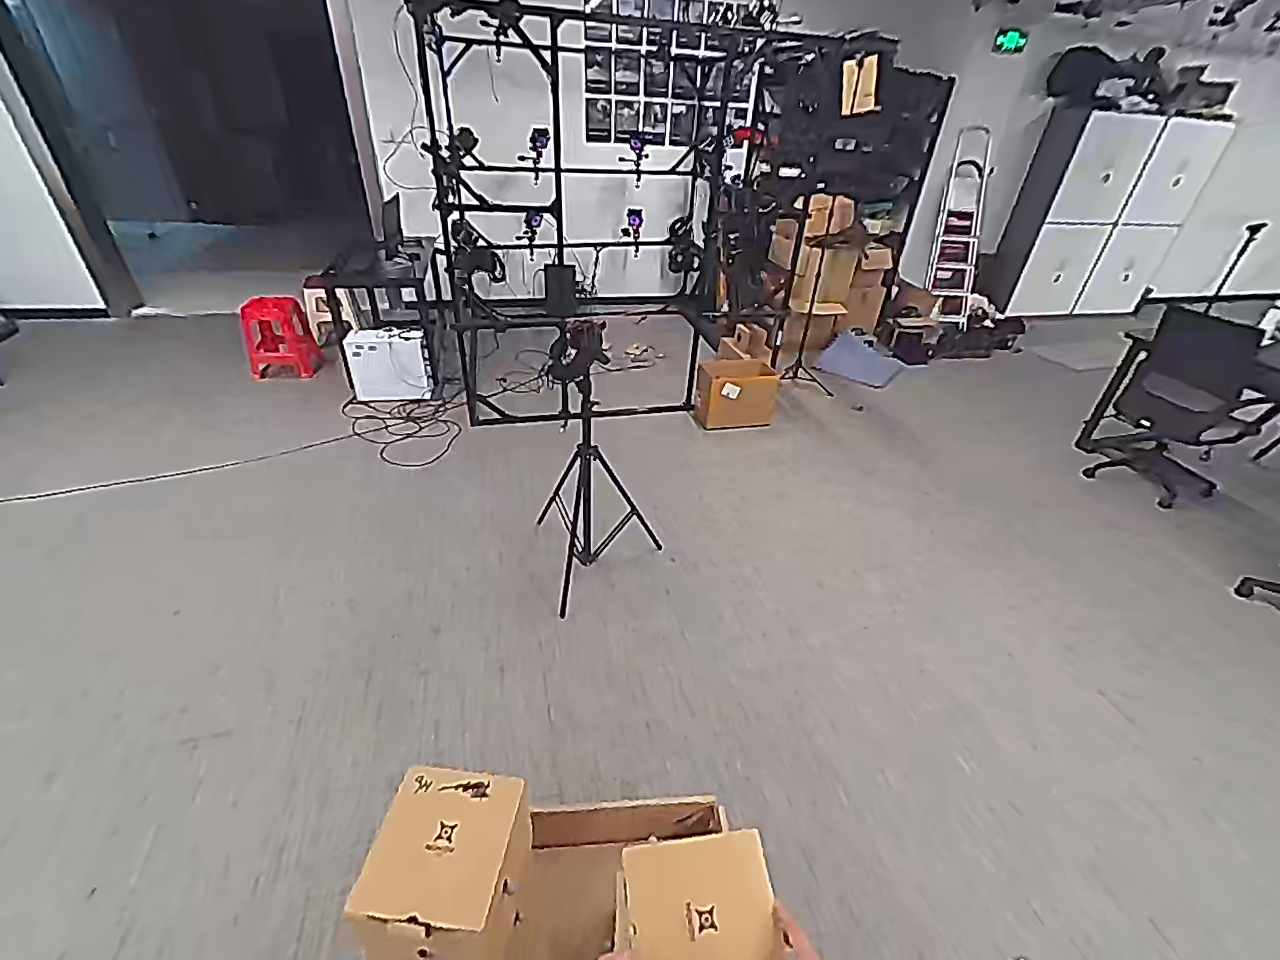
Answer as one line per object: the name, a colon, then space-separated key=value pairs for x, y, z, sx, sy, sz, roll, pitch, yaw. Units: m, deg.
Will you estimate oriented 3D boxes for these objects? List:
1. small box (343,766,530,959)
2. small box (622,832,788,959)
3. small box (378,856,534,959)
small box: x=-0.250 y=0.519 z=0.718 sx=0.168 sy=0.176 sz=0.179 roll=6 pitch=34 yaw=4
small box: x=0.077 y=0.563 z=0.670 sx=0.179 sy=0.176 sz=0.168 roll=-8 pitch=42 yaw=-1
small box: x=-0.259 y=0.654 z=0.812 sx=0.168 sy=0.176 sz=0.179 roll=4 pitch=32 yaw=1
